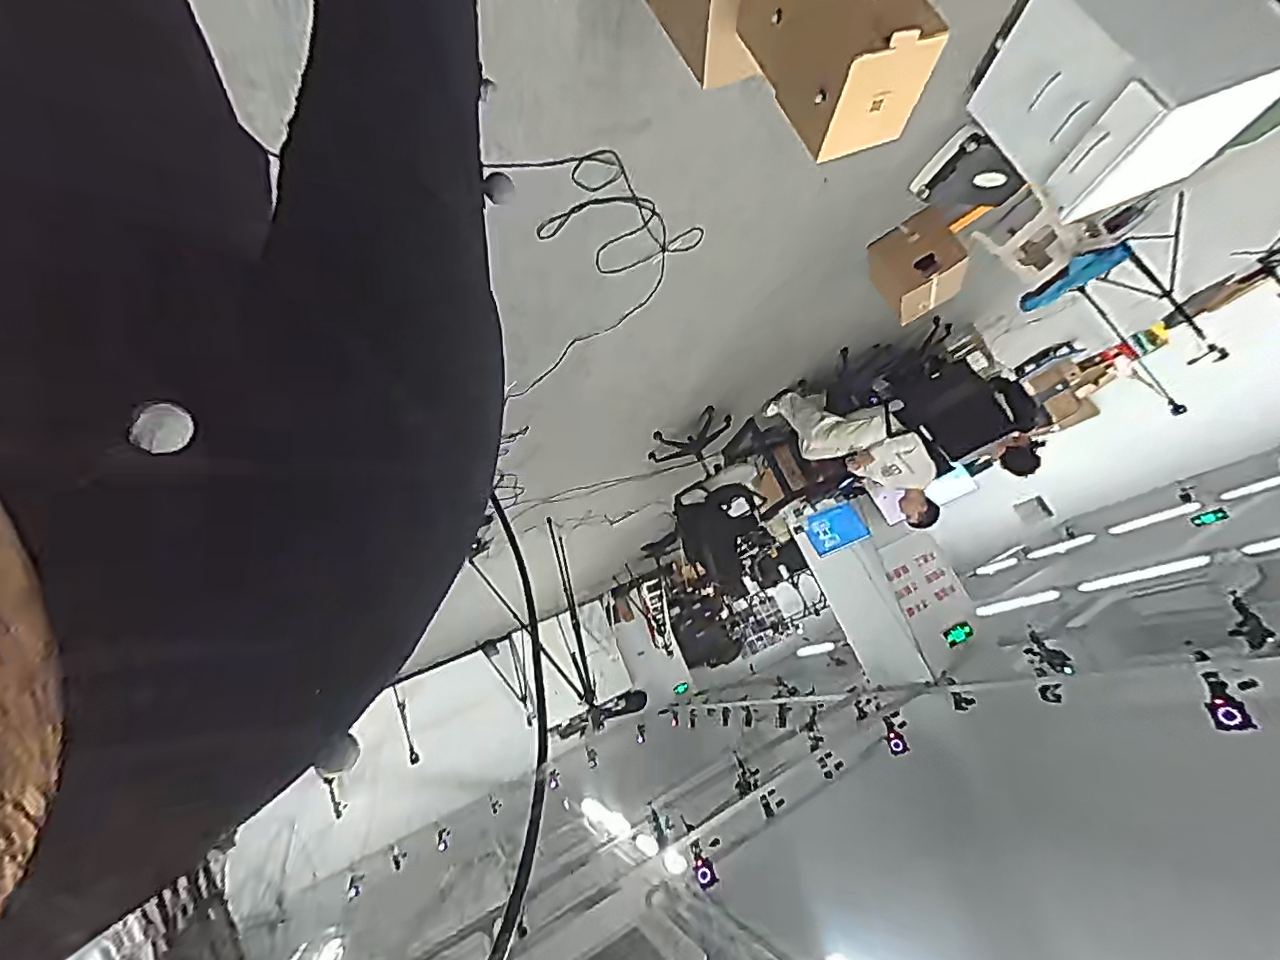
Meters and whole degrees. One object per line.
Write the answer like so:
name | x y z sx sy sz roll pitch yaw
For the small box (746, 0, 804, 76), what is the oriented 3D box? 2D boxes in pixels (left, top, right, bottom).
small box | 0.295 -0.840 0.906 0.168 0.176 0.179 -22 164 -6

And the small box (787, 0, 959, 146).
small box | 0.357 -0.693 0.872 0.168 0.176 0.179 -21 163 -6
